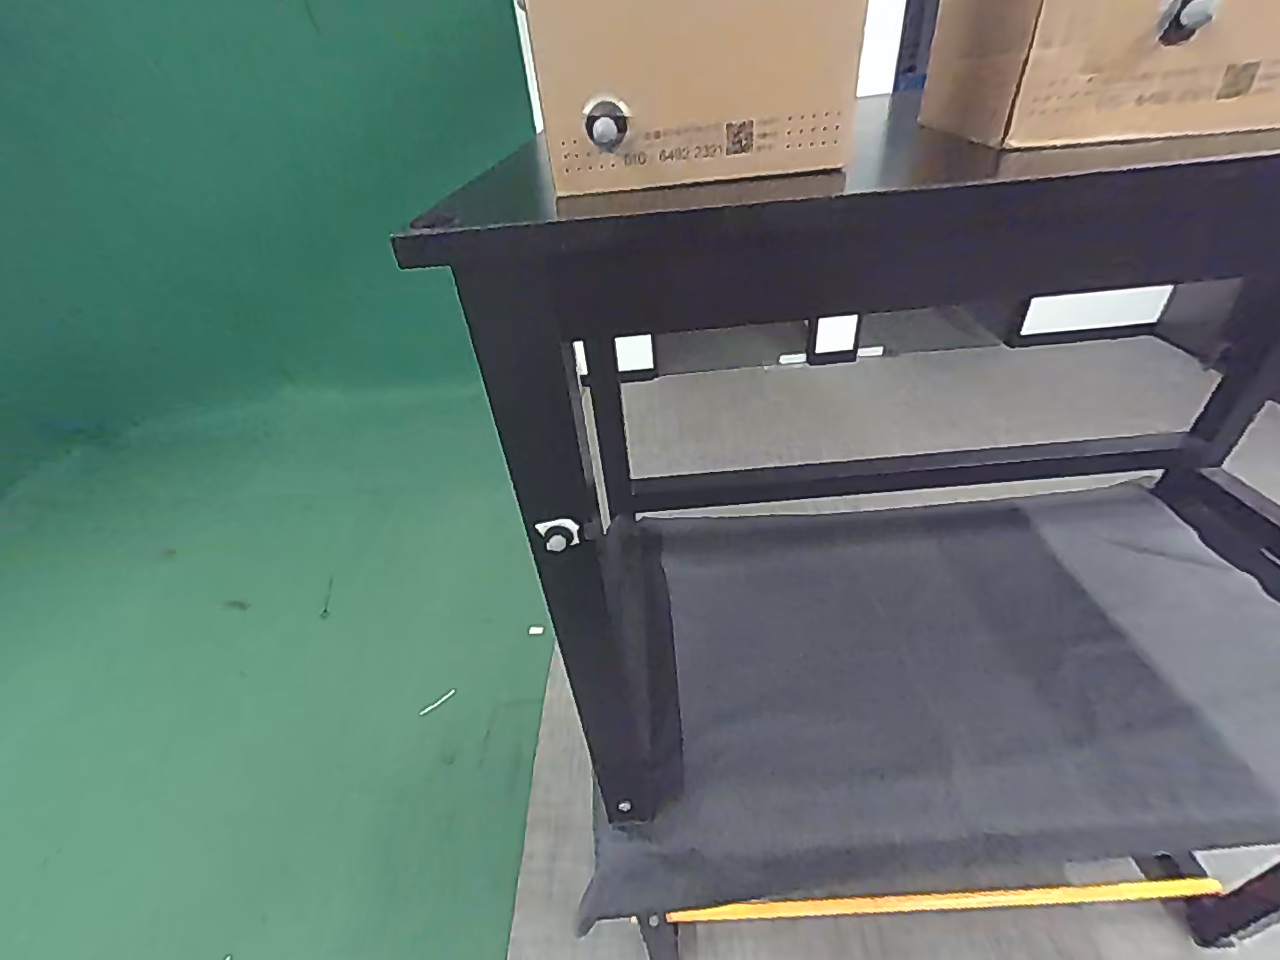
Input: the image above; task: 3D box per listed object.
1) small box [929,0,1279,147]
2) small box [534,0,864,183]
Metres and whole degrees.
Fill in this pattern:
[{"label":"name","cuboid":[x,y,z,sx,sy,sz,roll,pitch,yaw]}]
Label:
[{"label":"small box","cuboid":[0.293,-0.301,0.315,0.168,0.176,0.179,1,37,9]},{"label":"small box","cuboid":[0.029,-0.283,0.322,0.168,0.176,0.179,-4,35,1]}]
